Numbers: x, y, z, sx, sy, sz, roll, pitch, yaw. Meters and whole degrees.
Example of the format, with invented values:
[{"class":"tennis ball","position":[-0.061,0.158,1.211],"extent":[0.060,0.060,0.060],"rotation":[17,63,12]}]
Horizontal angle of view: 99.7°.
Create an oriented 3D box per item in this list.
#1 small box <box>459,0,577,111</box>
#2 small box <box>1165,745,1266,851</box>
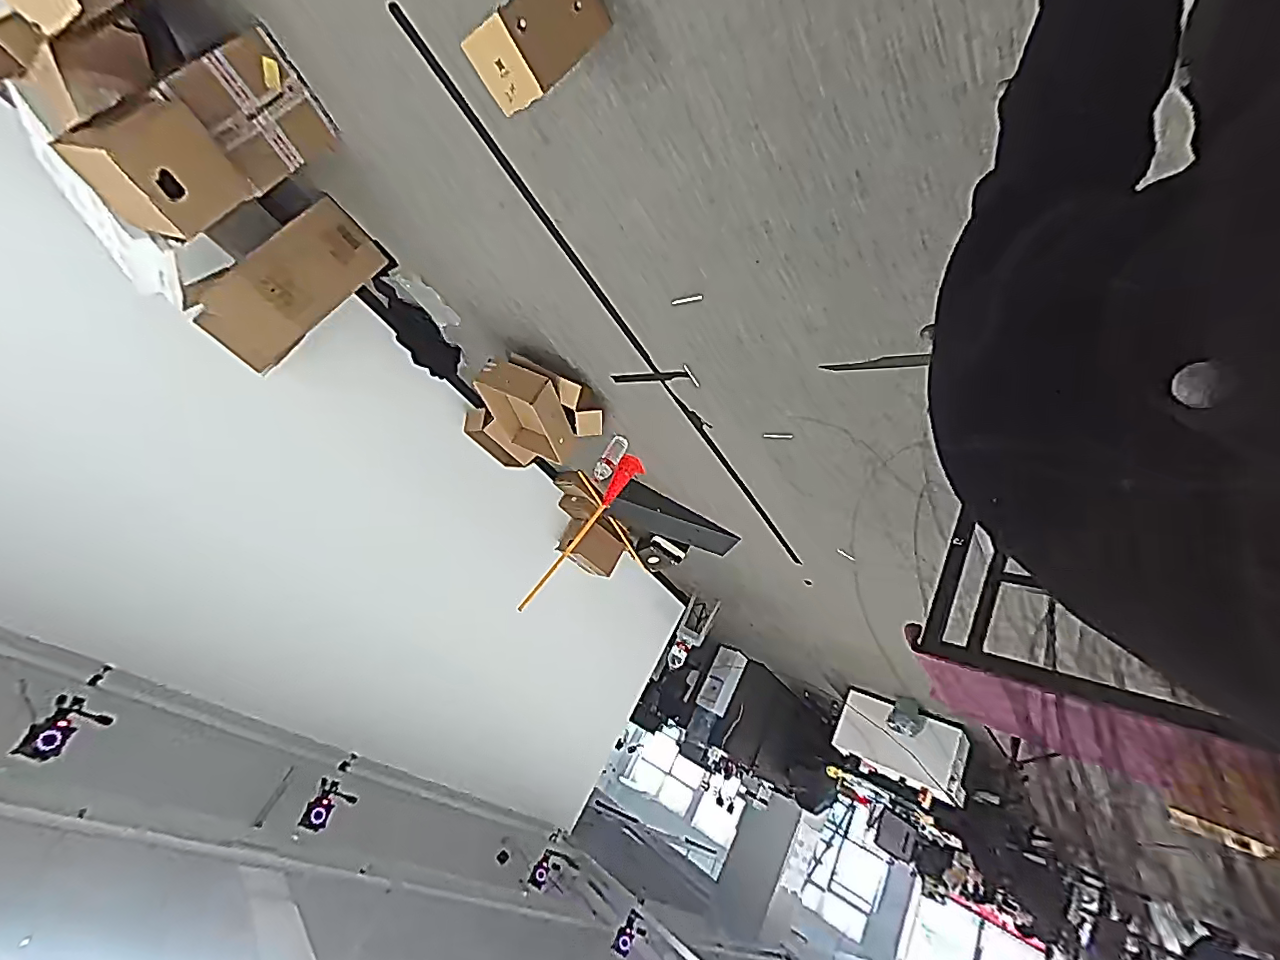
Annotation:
[{"class":"small box","position":[-0.287,-1.041,1.294],"extent":[0.168,0.176,0.179],"rotation":[11,152,43]},{"class":"small box","position":[1.536,0.843,1.446],"extent":[0.179,0.176,0.168],"rotation":[6,148,48]}]
